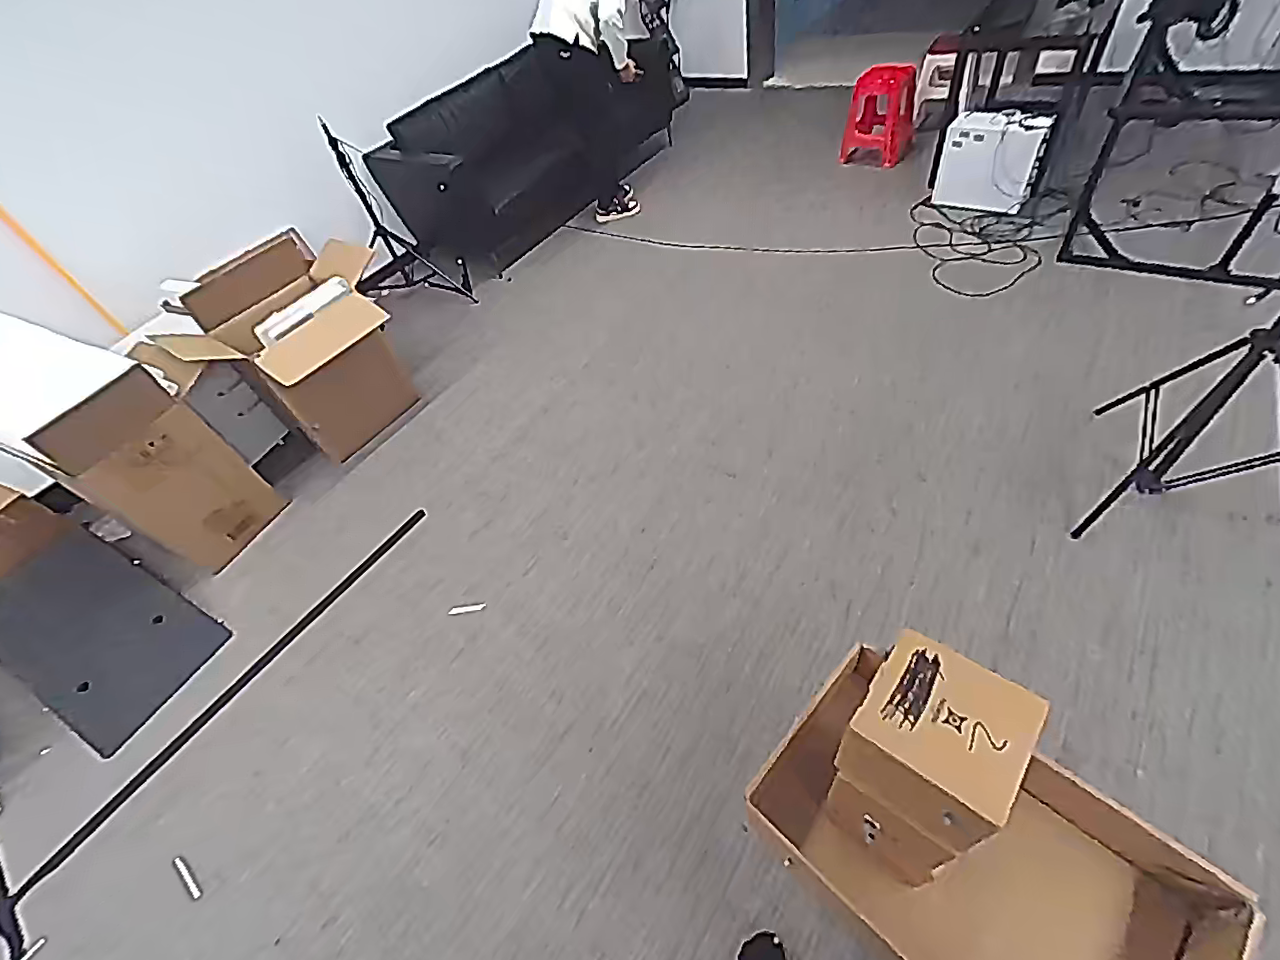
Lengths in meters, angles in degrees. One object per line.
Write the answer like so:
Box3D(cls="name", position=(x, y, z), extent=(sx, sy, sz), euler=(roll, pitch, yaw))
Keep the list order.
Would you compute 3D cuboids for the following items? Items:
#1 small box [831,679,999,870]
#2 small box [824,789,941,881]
Box3D(cls="small box", position=(0.407, 0.450, 0.827), extent=(0.168, 0.176, 0.179), euler=(27, 59, 31))
Box3D(cls="small box", position=(0.440, 0.561, 0.943), extent=(0.179, 0.176, 0.168), euler=(30, 62, 31))
